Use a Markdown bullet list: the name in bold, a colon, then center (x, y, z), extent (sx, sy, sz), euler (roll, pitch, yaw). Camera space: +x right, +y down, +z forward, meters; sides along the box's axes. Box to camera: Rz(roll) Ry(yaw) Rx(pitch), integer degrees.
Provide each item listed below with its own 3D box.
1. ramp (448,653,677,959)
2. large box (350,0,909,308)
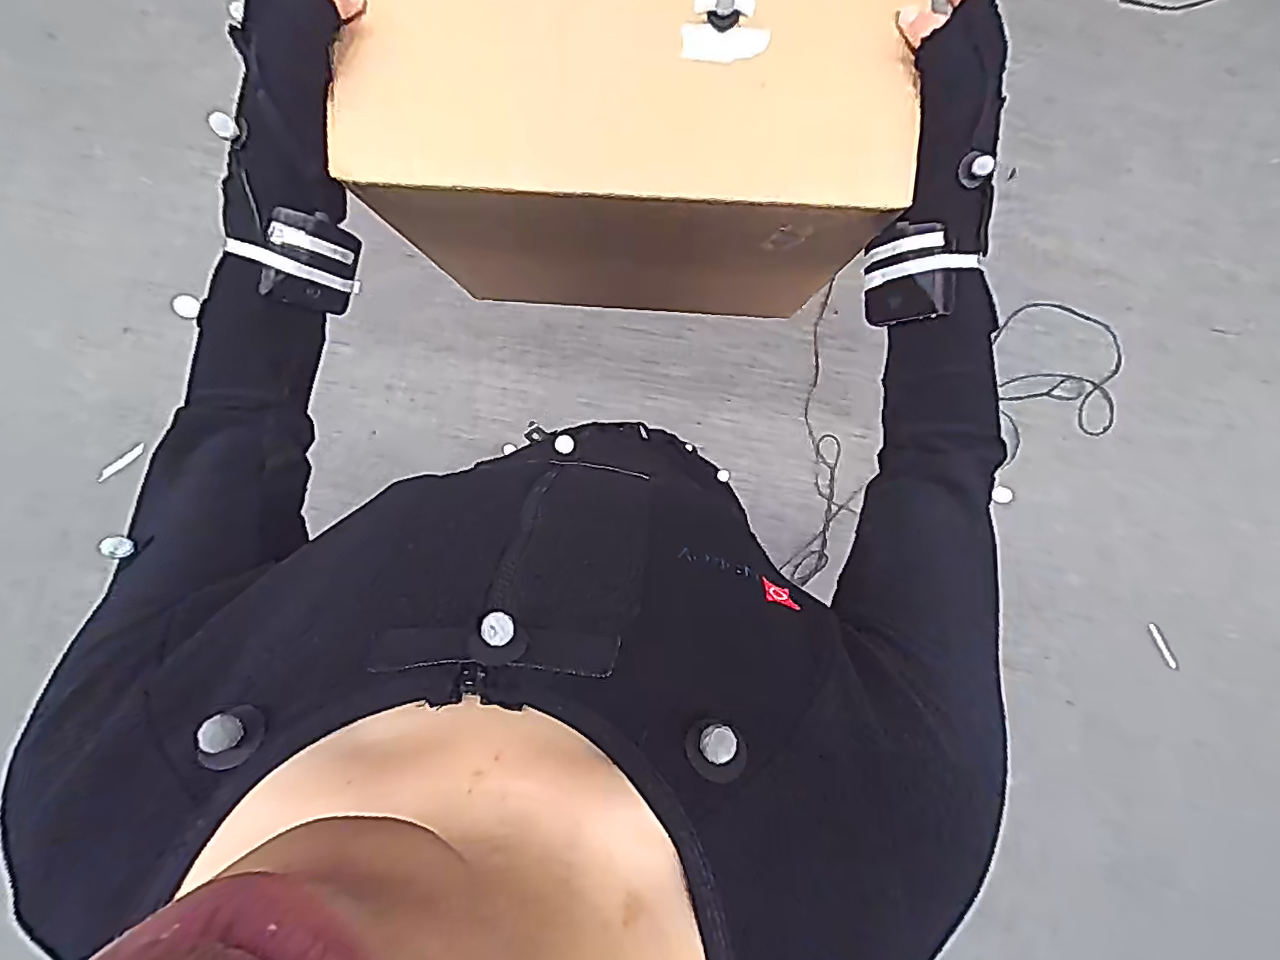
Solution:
- **ramp**: center (-0.220, 1.014, 1.468), extent (0.509, 0.206, 0.991), euler (9, 93, 3)
- **large box**: center (-0.006, -0.367, 0.531), extent (0.408, 0.320, 0.320), euler (3, 93, 0)
